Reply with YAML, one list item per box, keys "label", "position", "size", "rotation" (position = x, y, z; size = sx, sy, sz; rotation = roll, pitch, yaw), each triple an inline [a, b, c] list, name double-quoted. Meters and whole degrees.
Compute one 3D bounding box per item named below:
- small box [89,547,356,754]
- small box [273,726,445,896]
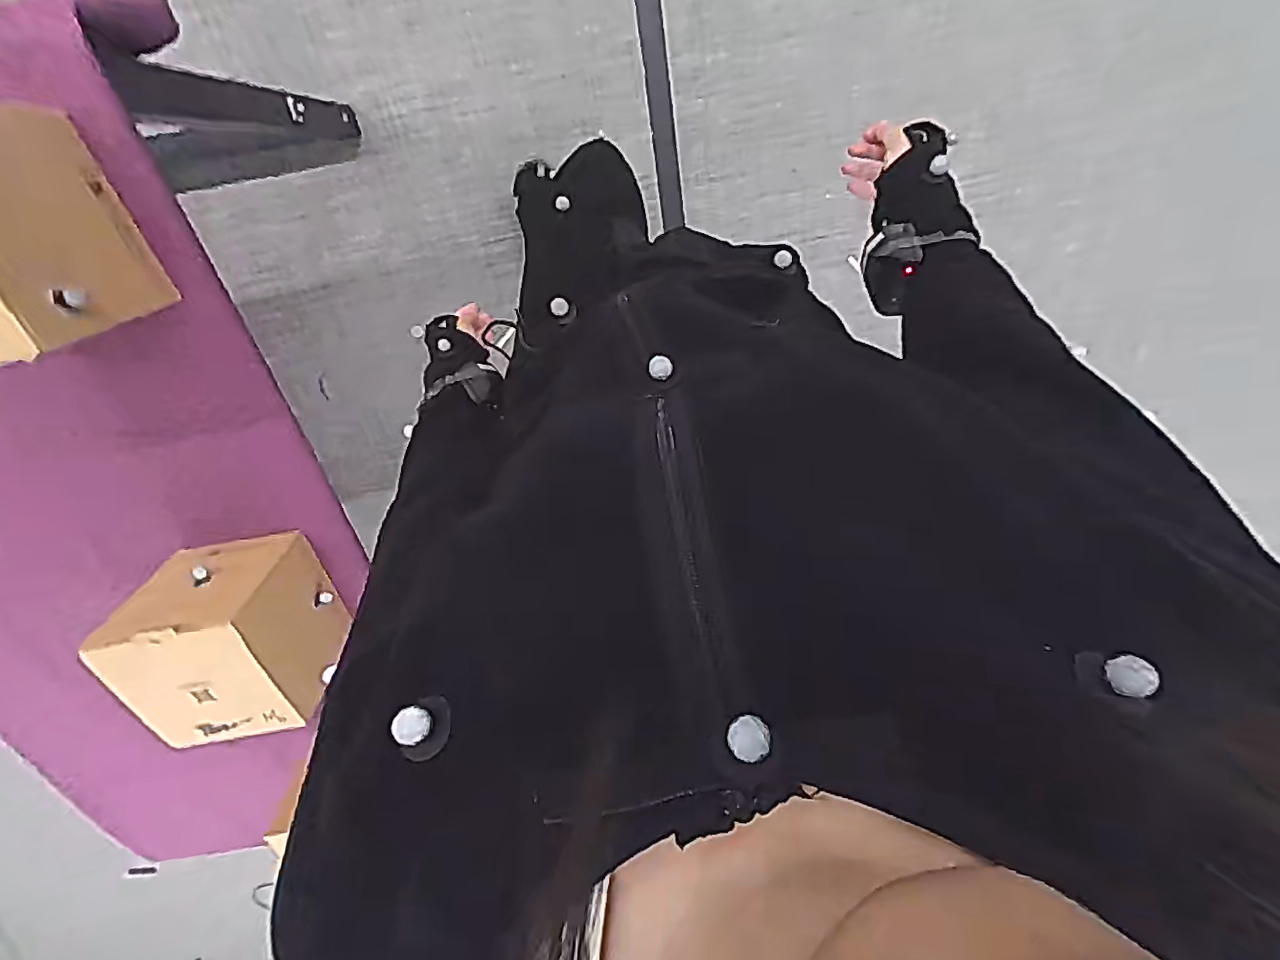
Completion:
- label: "small box"
  position: [-0.489, 0.200, 0.671]
  size: [0.168, 0.176, 0.179]
  rotation: [-10, 120, -1]
- label: "small box"
  position: [-0.428, 0.522, 0.868]
  size: [0.179, 0.176, 0.168]
  rotation: [-9, 119, 1]
